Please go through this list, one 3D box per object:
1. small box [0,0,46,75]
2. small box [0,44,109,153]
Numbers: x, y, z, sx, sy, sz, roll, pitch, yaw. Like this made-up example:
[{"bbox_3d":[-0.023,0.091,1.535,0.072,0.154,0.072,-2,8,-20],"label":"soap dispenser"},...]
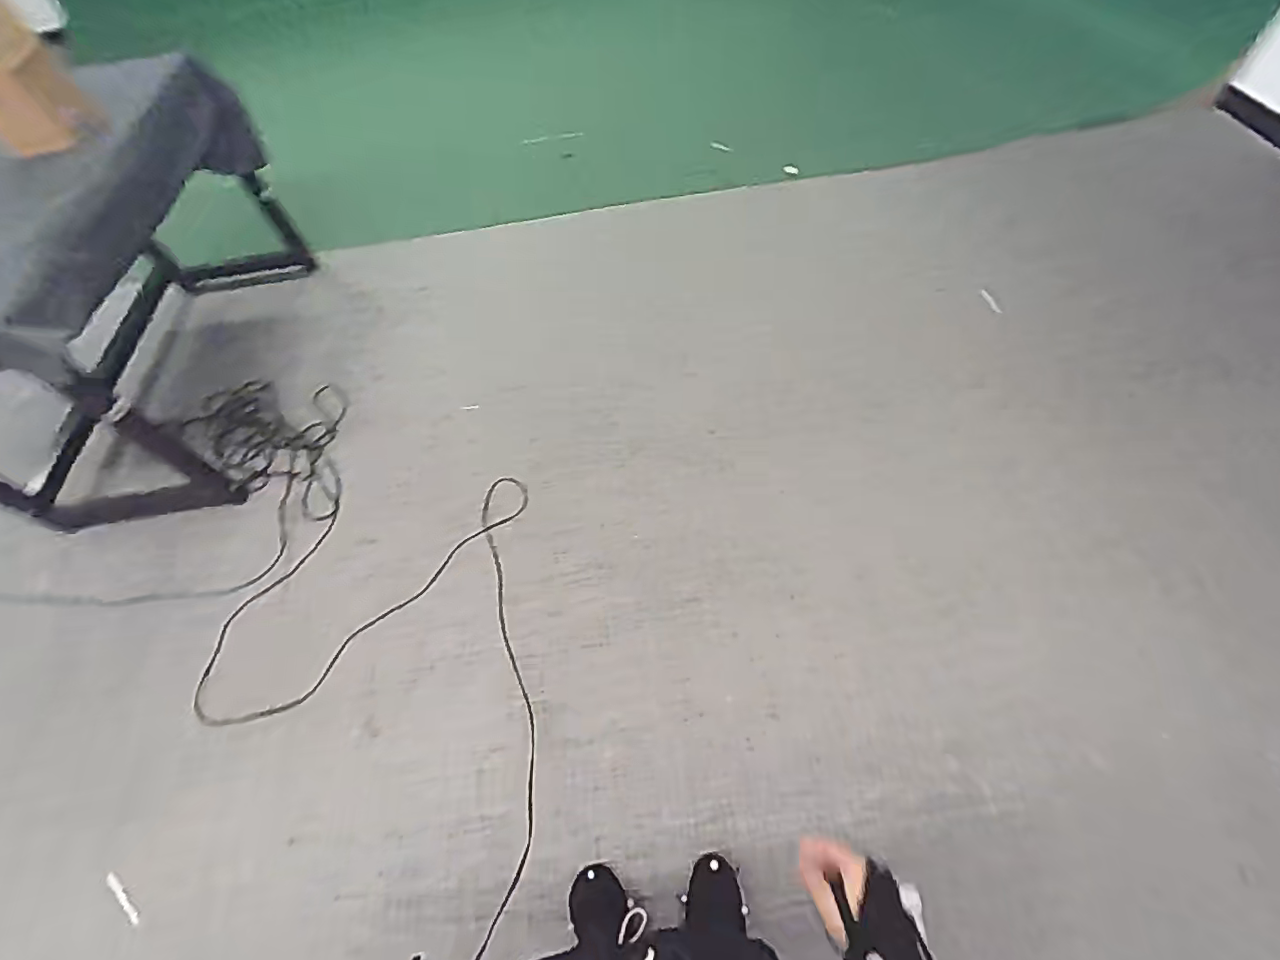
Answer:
[{"bbox_3d":[-1.509,-1.023,1.202,0.179,0.176,0.168,-9,59,1],"label":"small box"},{"bbox_3d":[-1.505,-0.941,1.342,0.179,0.176,0.168,-7,59,0],"label":"small box"}]
